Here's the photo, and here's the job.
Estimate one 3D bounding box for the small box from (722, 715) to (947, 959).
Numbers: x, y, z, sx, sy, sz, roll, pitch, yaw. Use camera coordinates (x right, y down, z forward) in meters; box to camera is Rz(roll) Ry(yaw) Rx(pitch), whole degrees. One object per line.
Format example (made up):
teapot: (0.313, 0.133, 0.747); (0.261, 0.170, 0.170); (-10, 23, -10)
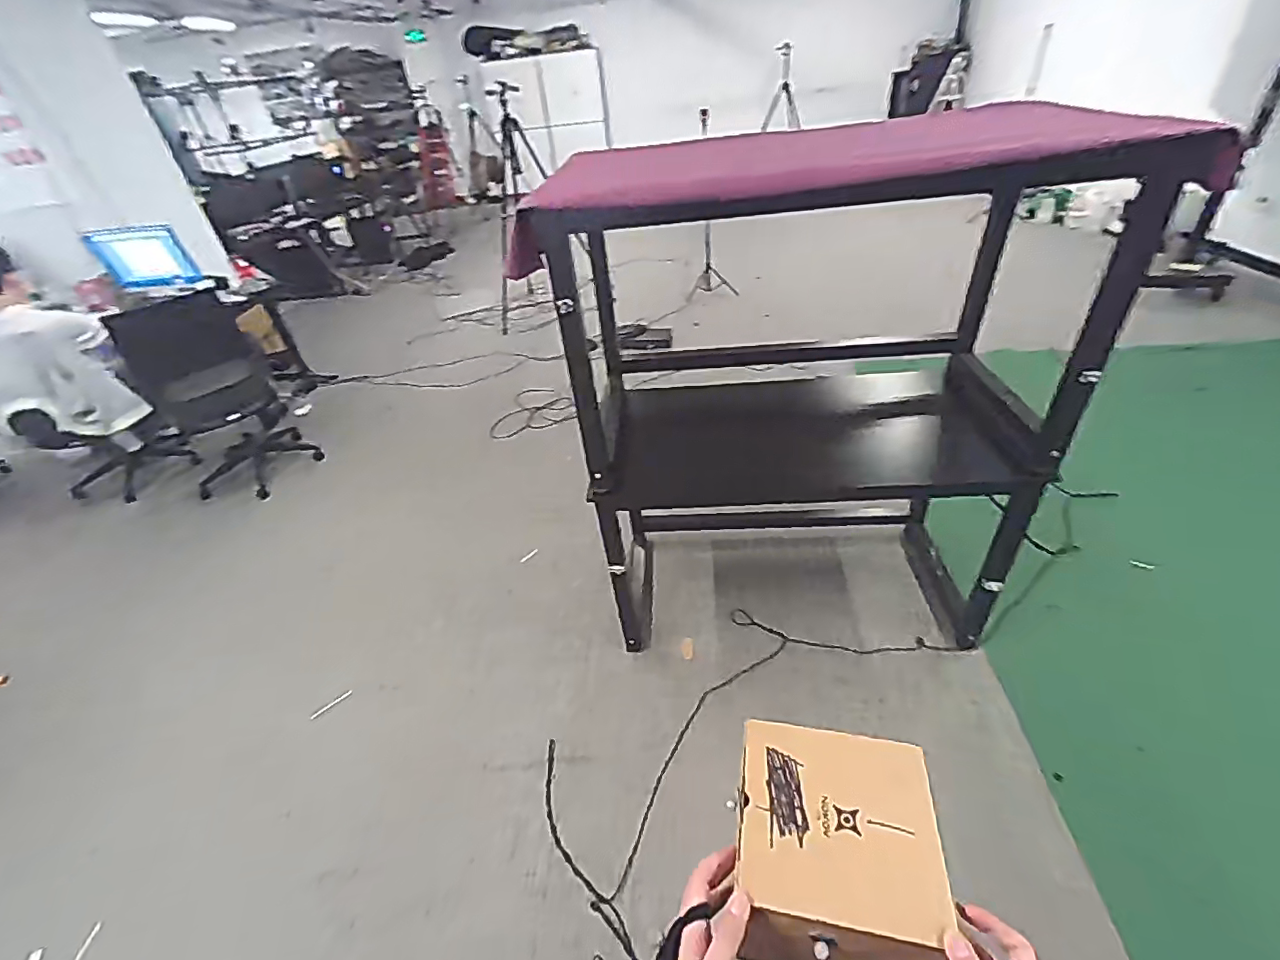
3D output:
small box: (0.176, 0.367, 0.541); (0.179, 0.176, 0.168); (4, 37, 12)
